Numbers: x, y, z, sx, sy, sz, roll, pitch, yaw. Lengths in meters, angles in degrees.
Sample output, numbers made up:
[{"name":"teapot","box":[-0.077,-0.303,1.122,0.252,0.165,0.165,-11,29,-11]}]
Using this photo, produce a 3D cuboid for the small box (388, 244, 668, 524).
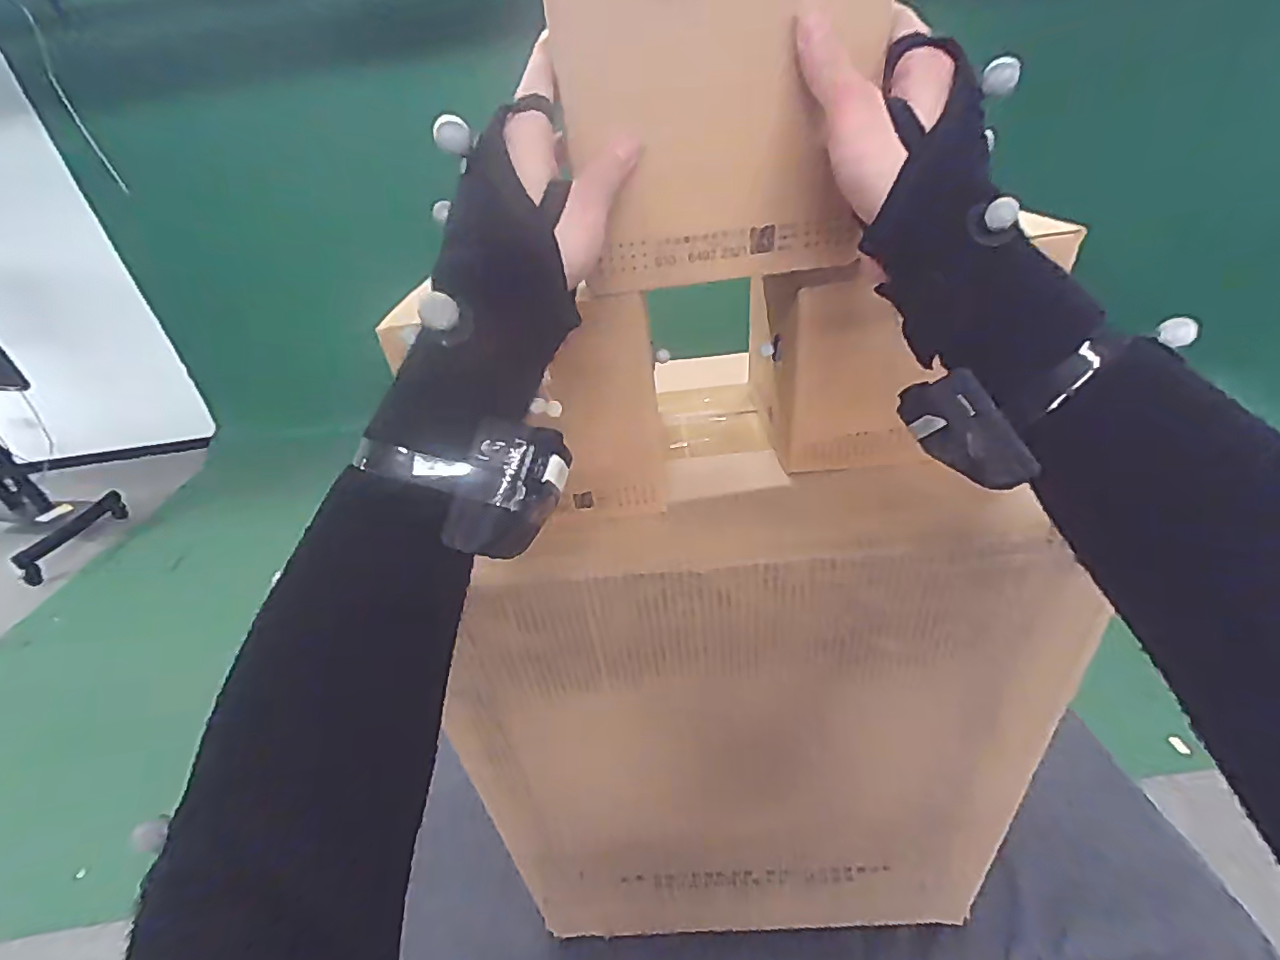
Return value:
[{"name":"small box","box":[-0.069,-0.085,0.444,0.168,0.176,0.179,-7,35,4]}]

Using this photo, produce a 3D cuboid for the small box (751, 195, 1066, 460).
[{"name":"small box","box":[0.192,-0.128,0.454,0.179,0.176,0.168,-5,35,1]}]

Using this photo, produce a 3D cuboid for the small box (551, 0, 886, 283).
[{"name":"small box","box":[0.034,-0.237,0.351,0.168,0.176,0.179,-8,34,-2]}]
